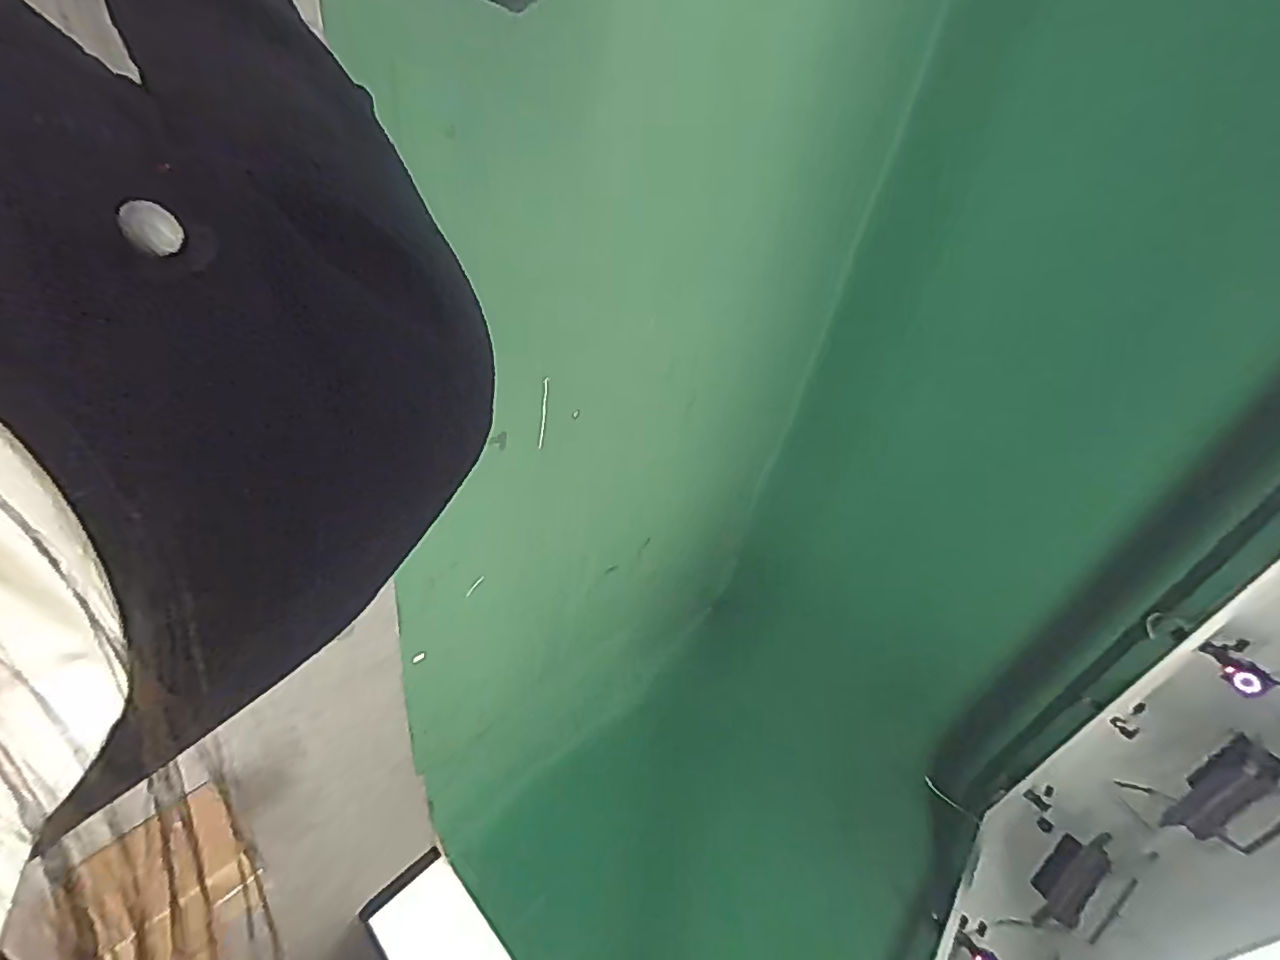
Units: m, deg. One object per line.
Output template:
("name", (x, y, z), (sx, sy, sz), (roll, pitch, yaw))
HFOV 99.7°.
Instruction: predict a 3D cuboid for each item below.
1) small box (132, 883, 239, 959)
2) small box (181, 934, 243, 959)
("small box", (-1.315, 1.329, 1.568), (0.179, 0.176, 0.168), (-28, 139, -39))
("small box", (-1.197, 1.404, 1.484), (0.168, 0.176, 0.179), (-31, 140, -39))
